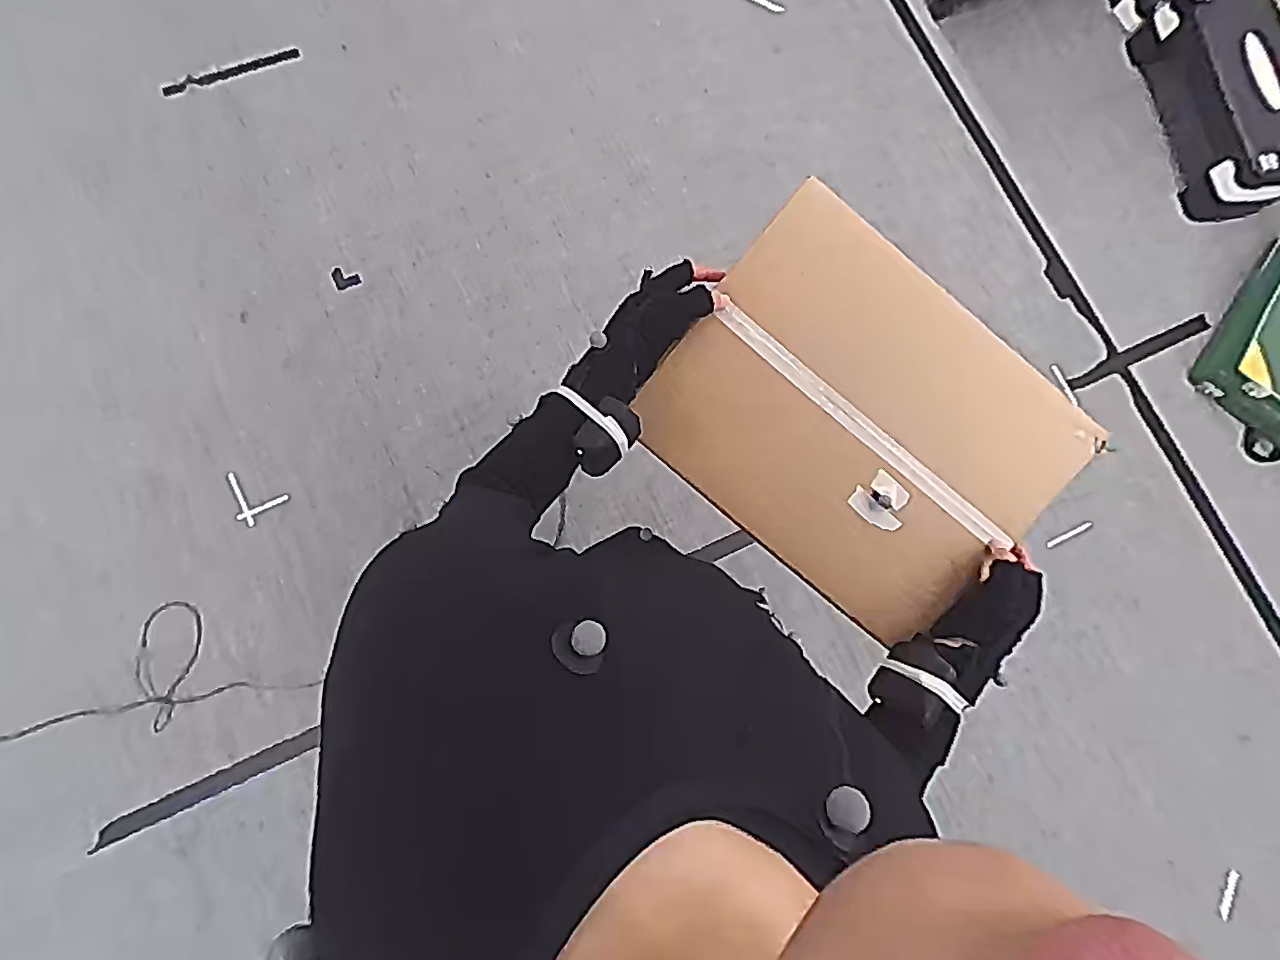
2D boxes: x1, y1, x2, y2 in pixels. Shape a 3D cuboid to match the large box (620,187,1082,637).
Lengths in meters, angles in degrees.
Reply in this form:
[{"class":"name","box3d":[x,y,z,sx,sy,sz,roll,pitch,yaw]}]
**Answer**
[{"class":"large box","box3d":[0.222,-0.078,0.721,0.408,0.320,0.320,40,95,-3]}]
